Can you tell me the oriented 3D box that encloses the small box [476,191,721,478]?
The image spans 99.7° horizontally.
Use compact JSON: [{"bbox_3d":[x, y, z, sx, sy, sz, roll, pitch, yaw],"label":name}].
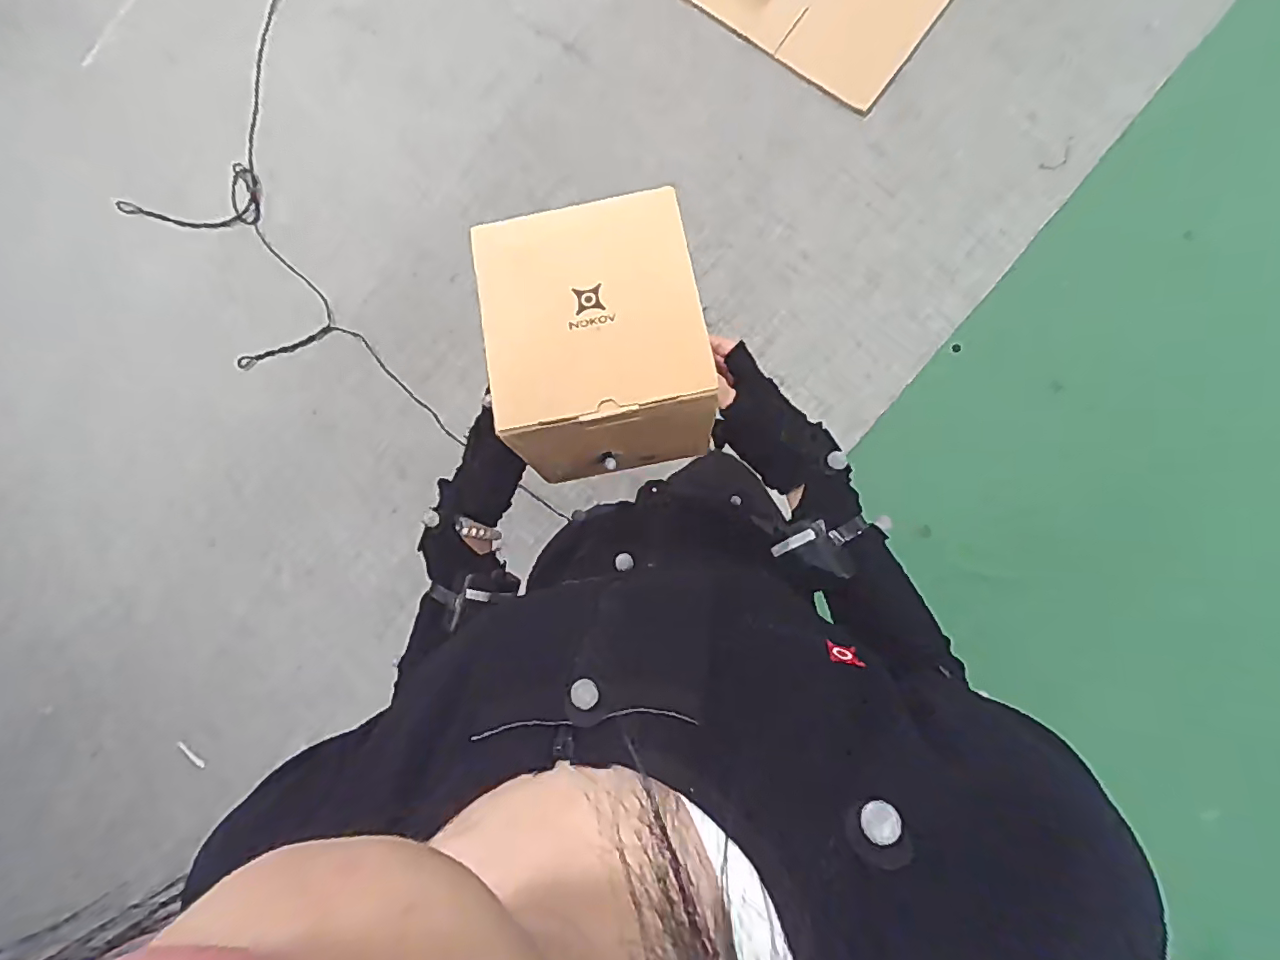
[{"bbox_3d":[-0.032,-0.114,0.485,0.168,0.176,0.179,-11,78,1],"label":"small box"}]
